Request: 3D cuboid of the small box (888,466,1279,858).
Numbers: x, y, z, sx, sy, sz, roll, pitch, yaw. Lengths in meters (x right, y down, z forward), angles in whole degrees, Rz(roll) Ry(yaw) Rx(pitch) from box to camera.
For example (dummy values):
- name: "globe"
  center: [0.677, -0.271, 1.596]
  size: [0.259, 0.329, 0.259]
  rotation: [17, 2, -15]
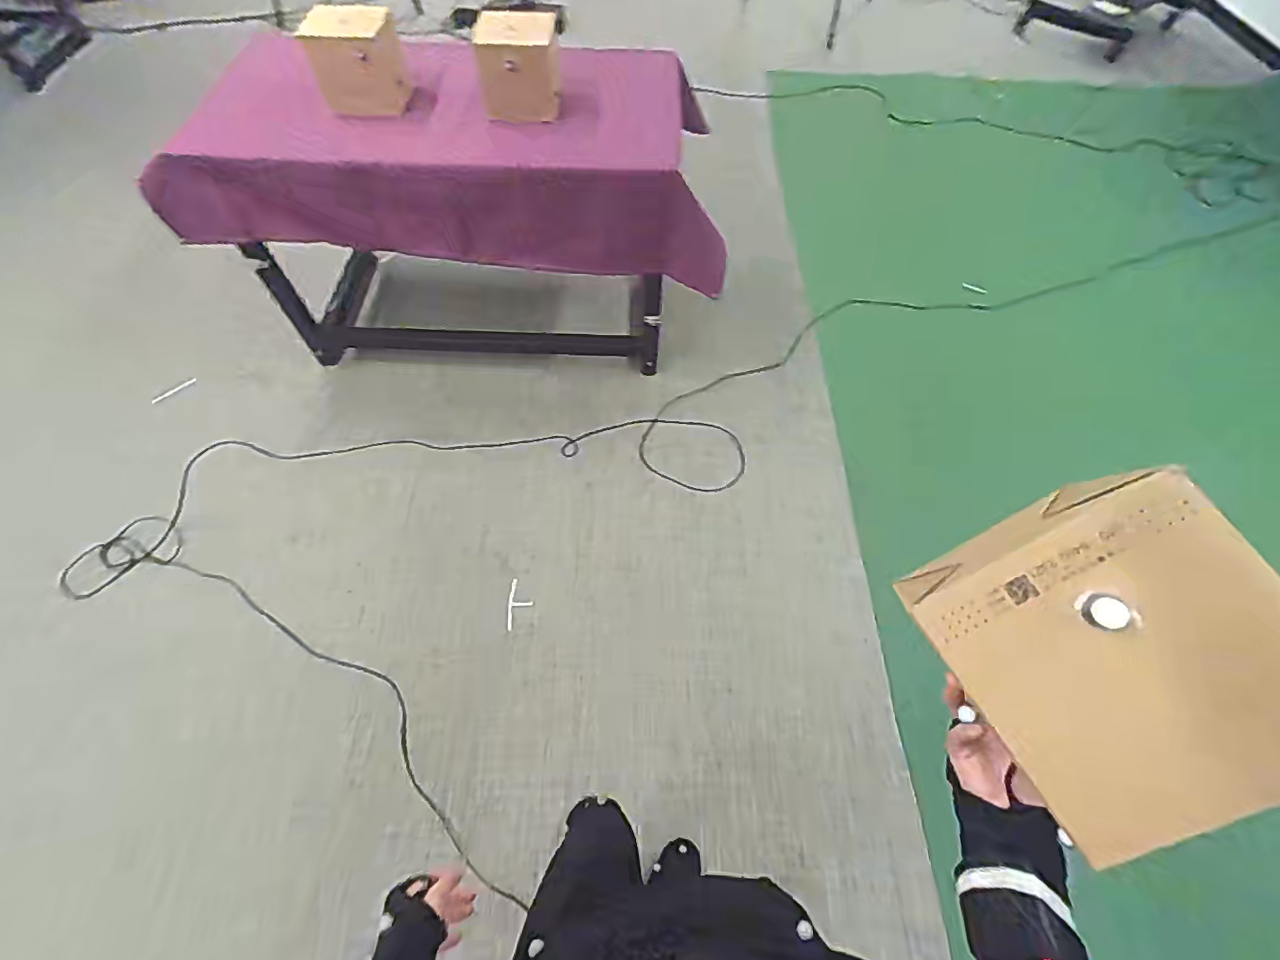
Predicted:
- name: "small box"
  center: [0.301, 0.106, 0.384]
  size: [0.168, 0.179, 0.176]
  rotation: [-38, 73, 14]

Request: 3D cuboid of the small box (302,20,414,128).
- name: "small box"
  center: [-0.687, -1.002, 1.339]
  size: [0.179, 0.176, 0.168]
  rotation: [0, 59, -2]

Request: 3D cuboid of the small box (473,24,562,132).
- name: "small box"
  center: [-0.295, -0.991, 1.338]
  size: [0.179, 0.176, 0.168]
  rotation: [2, 60, -1]
